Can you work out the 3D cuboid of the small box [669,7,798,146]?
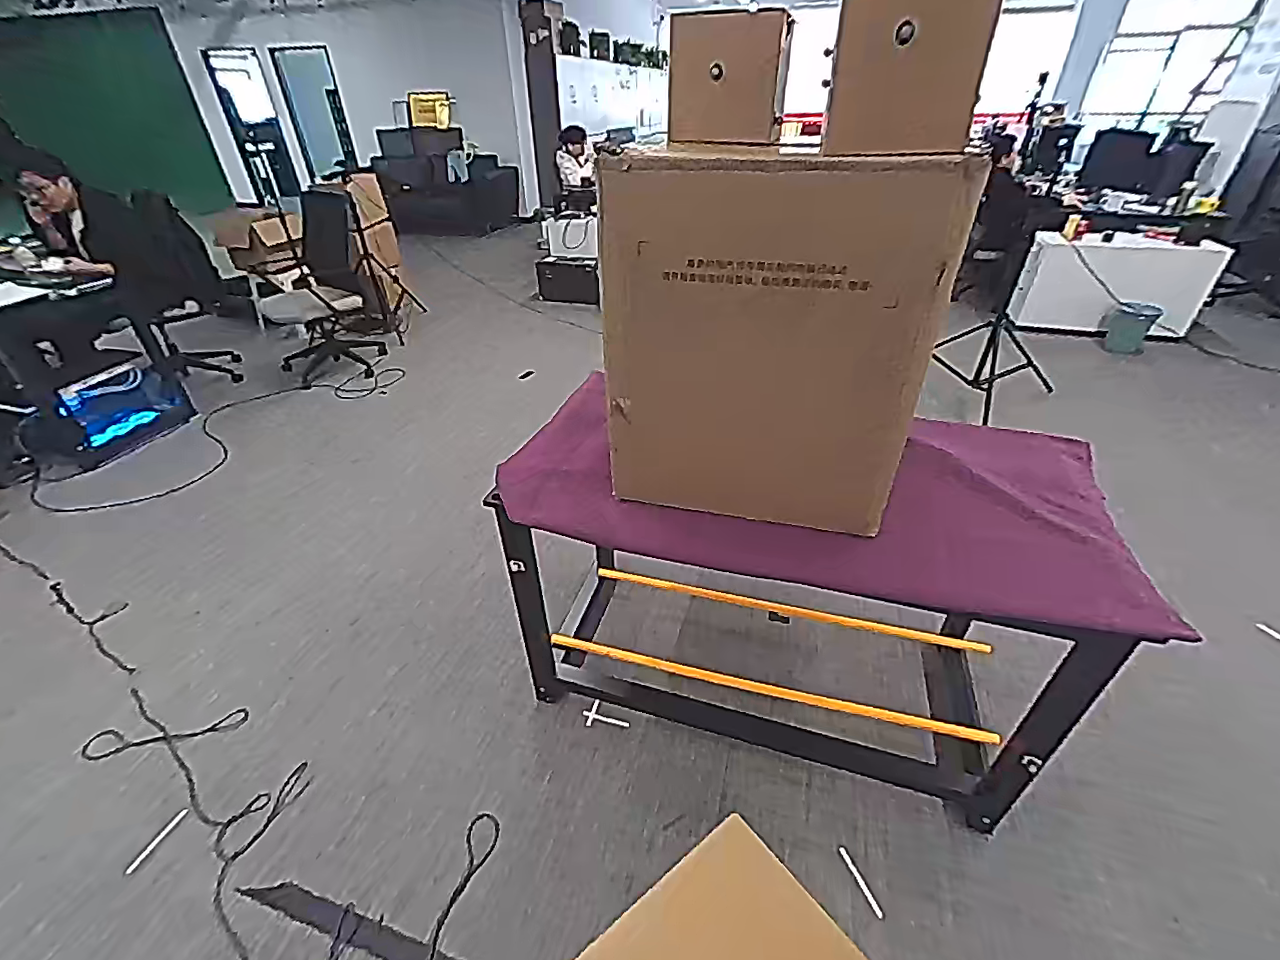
[{"bbox_3d":[0.155,-0.664,0.904,0.179,0.176,0.168,10,35,18],"label":"small box"}]
